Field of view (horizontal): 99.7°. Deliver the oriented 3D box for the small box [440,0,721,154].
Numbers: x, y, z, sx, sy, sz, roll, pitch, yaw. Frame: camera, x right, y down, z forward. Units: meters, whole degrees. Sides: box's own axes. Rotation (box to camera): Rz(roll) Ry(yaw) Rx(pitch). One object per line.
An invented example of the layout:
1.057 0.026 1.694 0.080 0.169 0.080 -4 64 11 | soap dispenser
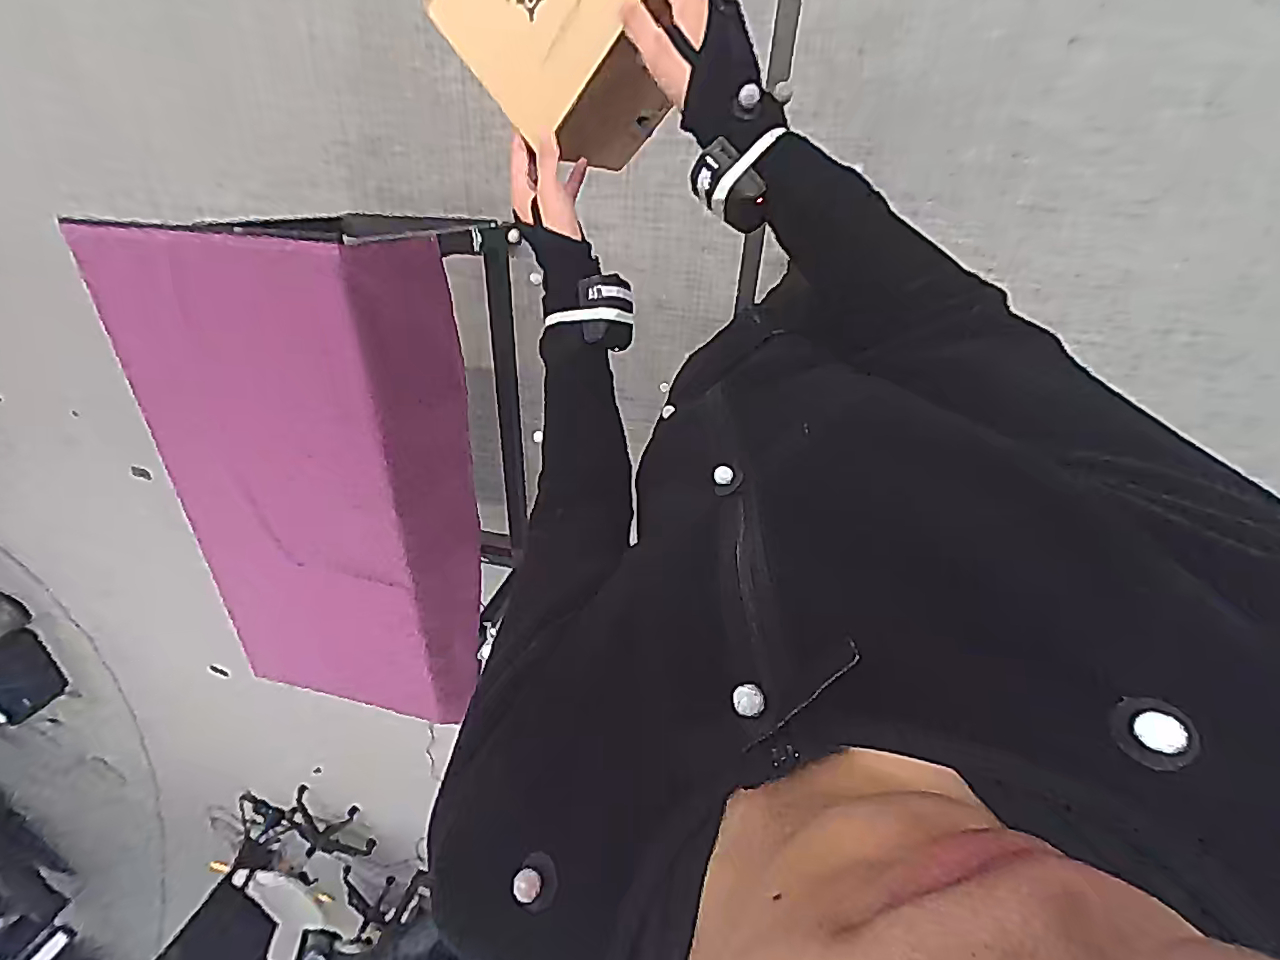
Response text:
-0.053 -0.450 0.519 0.168 0.176 0.179 -34 93 35 | small box
